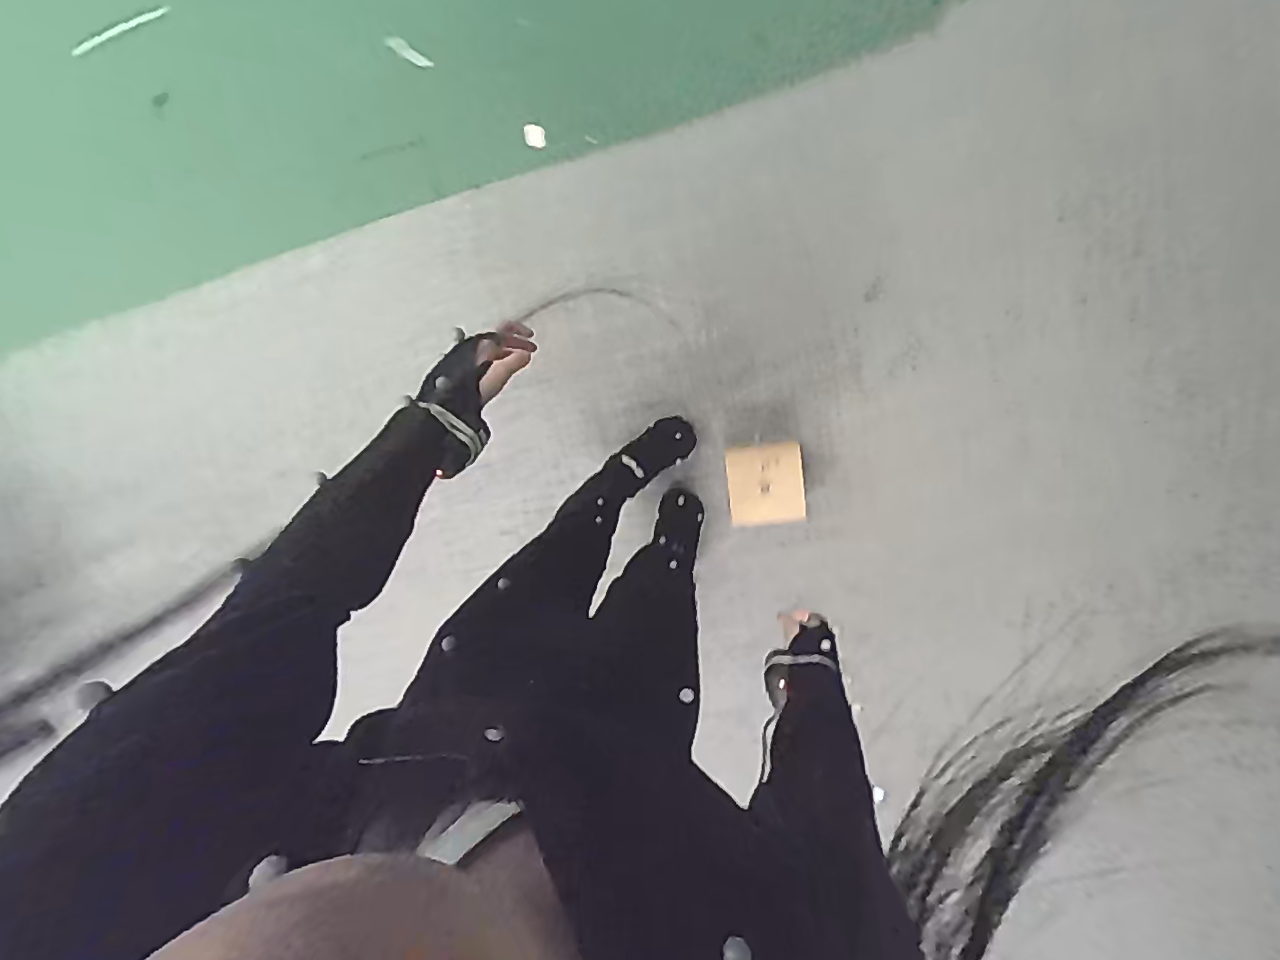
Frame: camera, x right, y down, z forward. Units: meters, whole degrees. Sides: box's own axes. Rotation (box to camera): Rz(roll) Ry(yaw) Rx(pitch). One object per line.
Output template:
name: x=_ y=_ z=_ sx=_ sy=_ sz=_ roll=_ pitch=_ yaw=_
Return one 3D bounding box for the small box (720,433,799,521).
small box: x=0.282 y=-0.011 z=1.290 sx=0.168 sy=0.176 sz=0.179 roll=-5 pitch=100 yaw=9
